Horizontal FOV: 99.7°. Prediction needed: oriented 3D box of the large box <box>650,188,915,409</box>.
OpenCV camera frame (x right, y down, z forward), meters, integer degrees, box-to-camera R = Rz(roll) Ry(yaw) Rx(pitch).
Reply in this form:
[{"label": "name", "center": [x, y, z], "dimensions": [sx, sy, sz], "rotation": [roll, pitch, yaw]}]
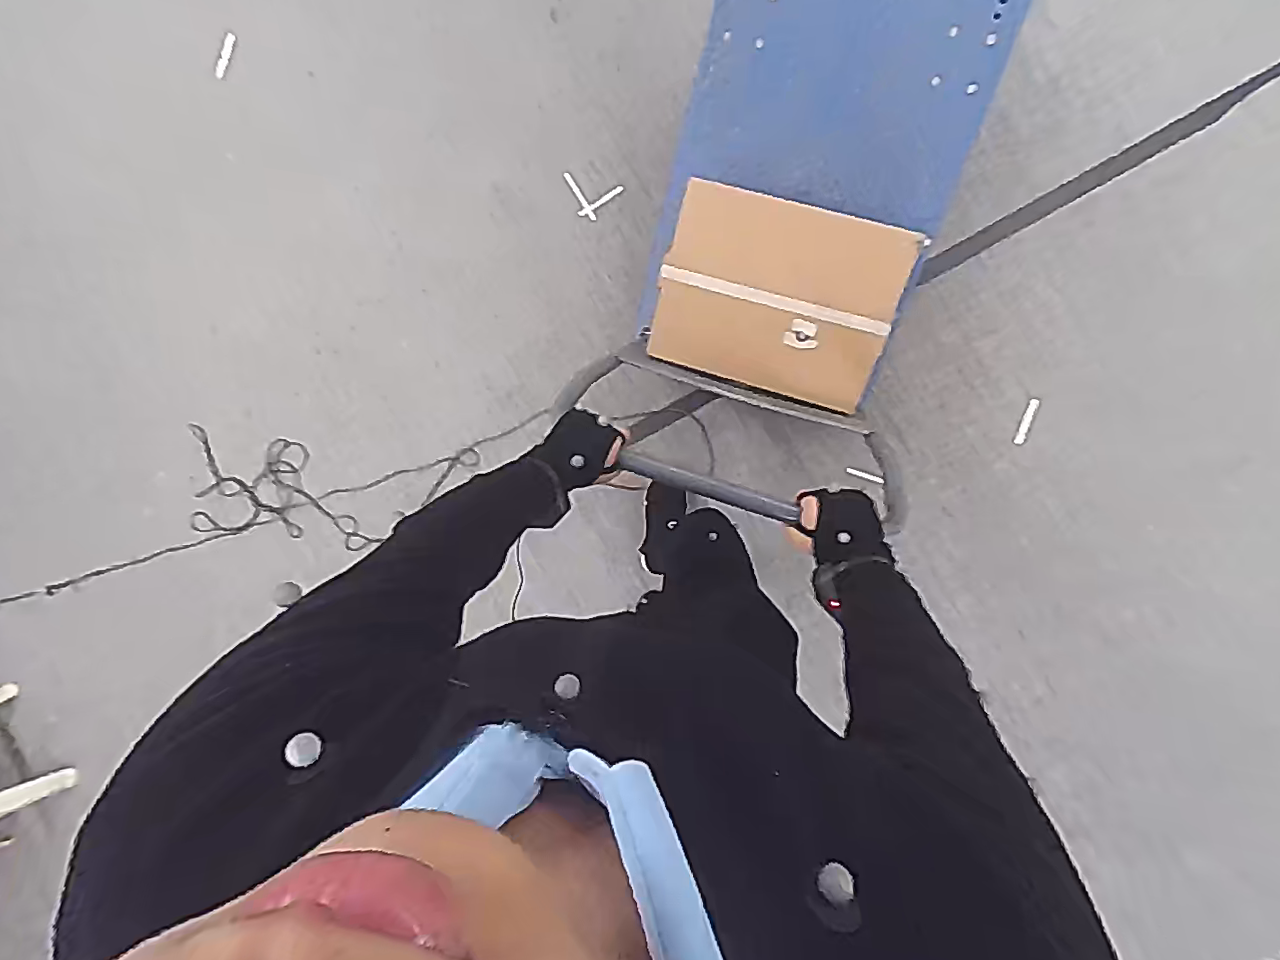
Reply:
[{"label": "large box", "center": [0.266, -0.367, 1.114], "dimensions": [0.408, 0.320, 0.320], "rotation": [17, 111, 6]}]
